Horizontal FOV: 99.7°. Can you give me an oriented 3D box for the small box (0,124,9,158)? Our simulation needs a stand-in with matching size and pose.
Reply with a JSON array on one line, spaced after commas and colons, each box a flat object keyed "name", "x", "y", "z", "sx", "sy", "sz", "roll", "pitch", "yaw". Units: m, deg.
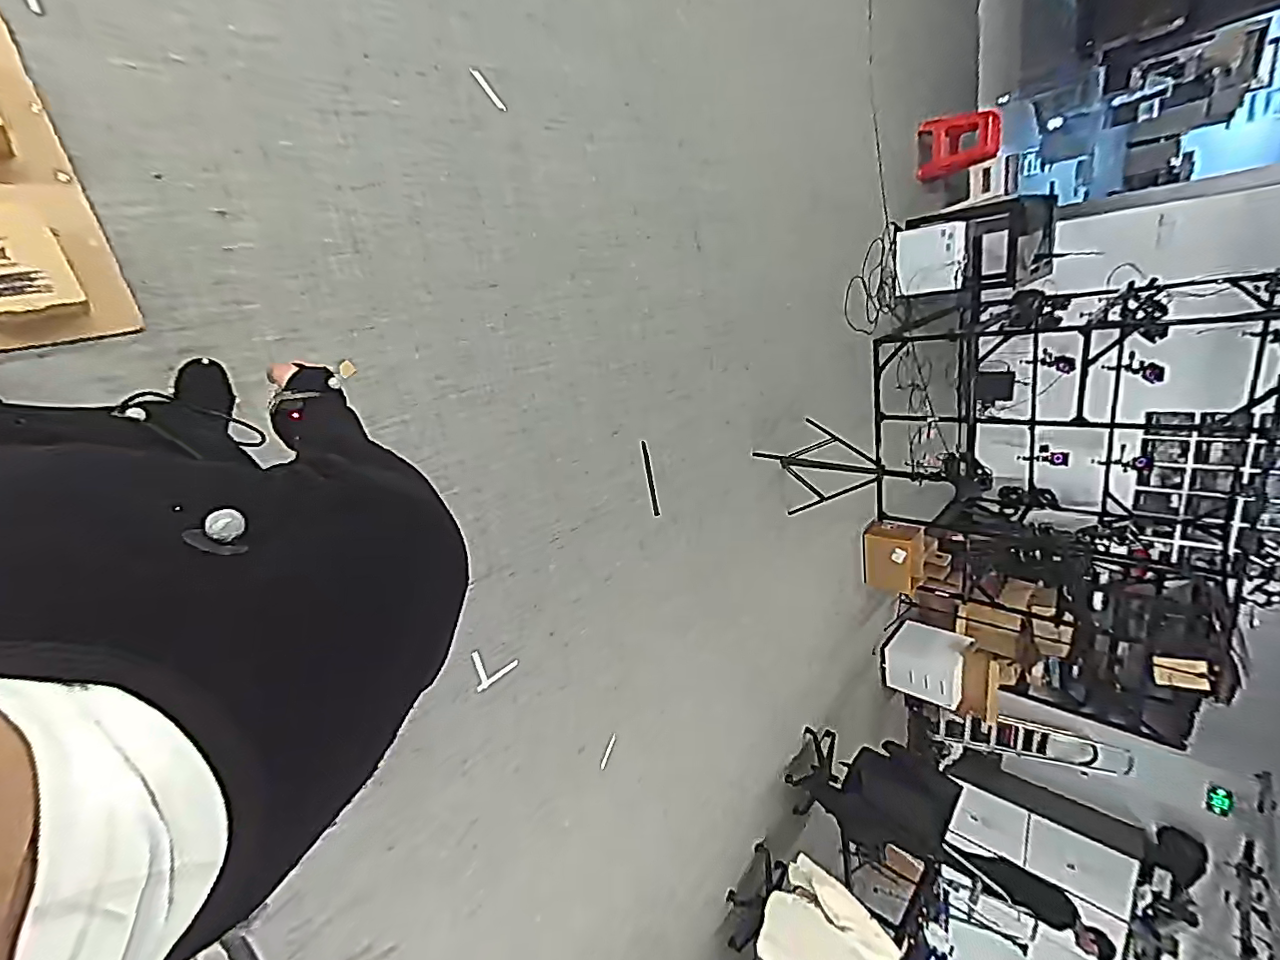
[{"name": "small box", "x": -1.232, "y": -0.661, "z": 0.908, "sx": 0.168, "sy": 0.176, "sz": 0.179, "roll": -32, "pitch": 118, "yaw": -37}]
